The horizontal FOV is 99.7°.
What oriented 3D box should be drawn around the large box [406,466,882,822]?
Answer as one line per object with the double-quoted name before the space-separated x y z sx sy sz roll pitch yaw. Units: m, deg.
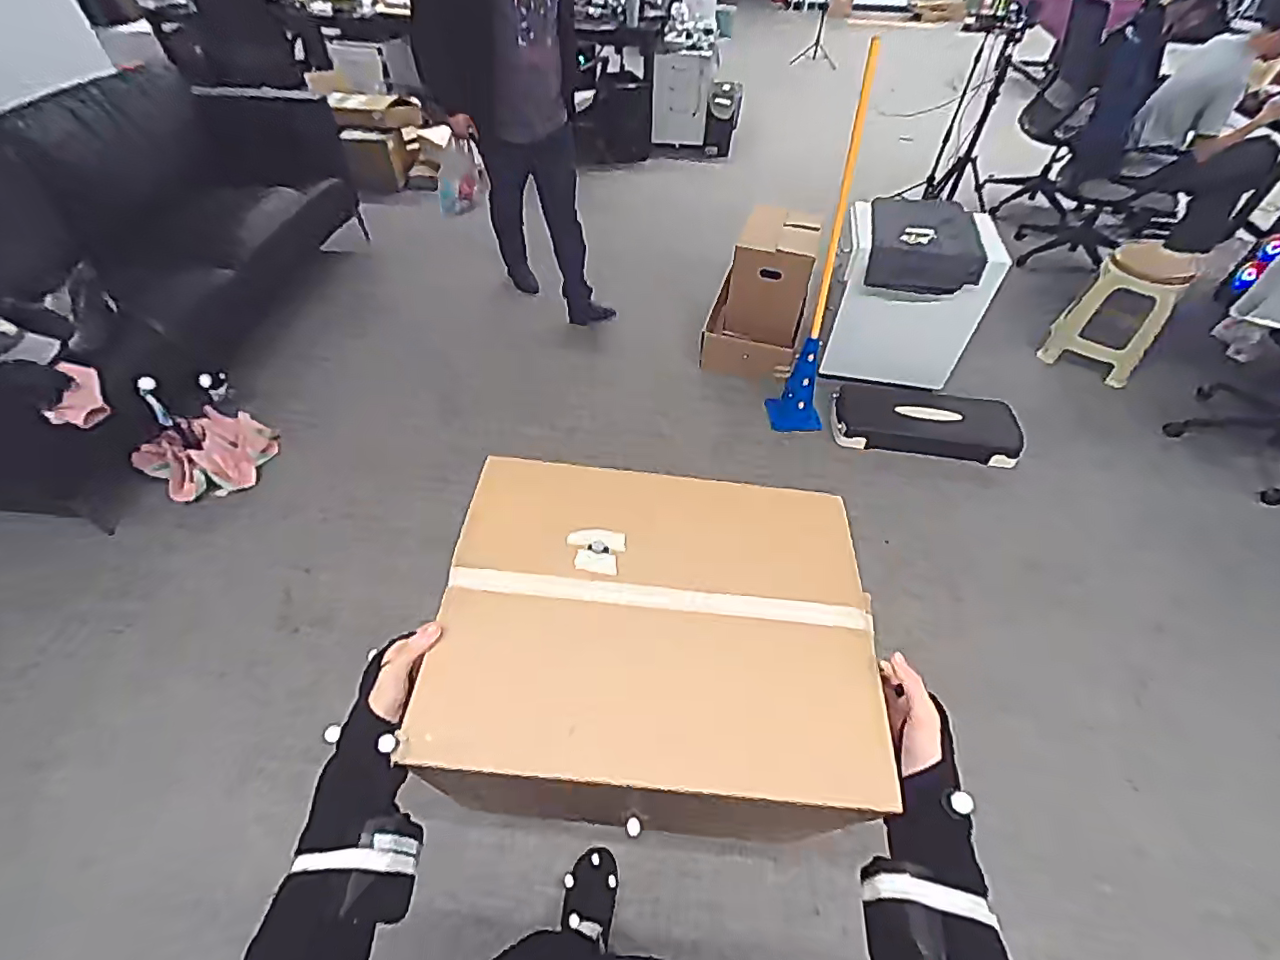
"large box" 0.006 0.211 0.651 0.408 0.320 0.320 6 52 -1
